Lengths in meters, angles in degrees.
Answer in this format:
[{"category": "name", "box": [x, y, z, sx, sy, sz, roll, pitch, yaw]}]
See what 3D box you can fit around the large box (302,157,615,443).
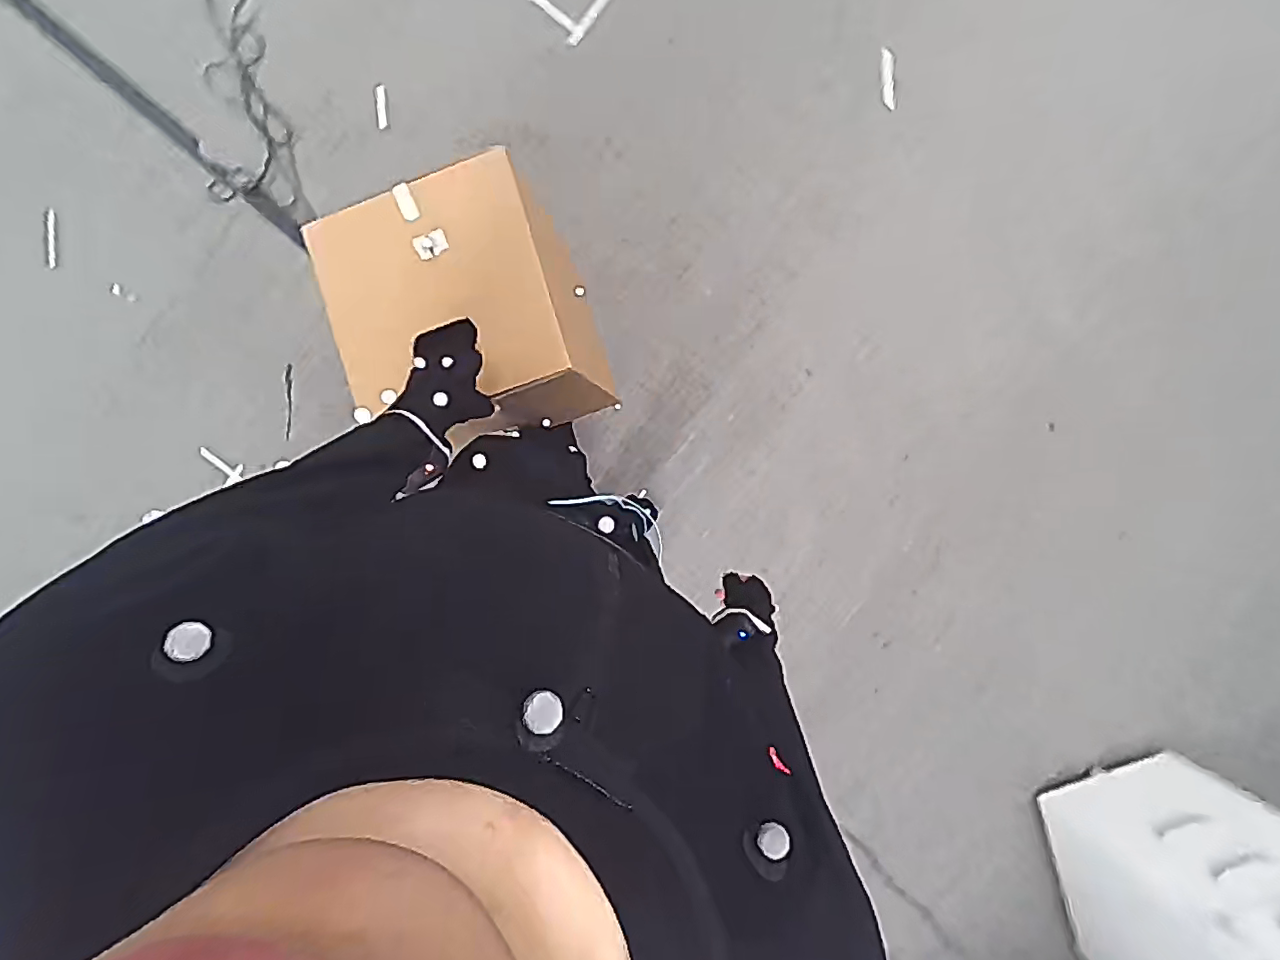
[{"category": "large box", "box": [-0.269, -0.260, 0.936, 0.320, 0.408, 0.320, -18, 90, 8]}]
